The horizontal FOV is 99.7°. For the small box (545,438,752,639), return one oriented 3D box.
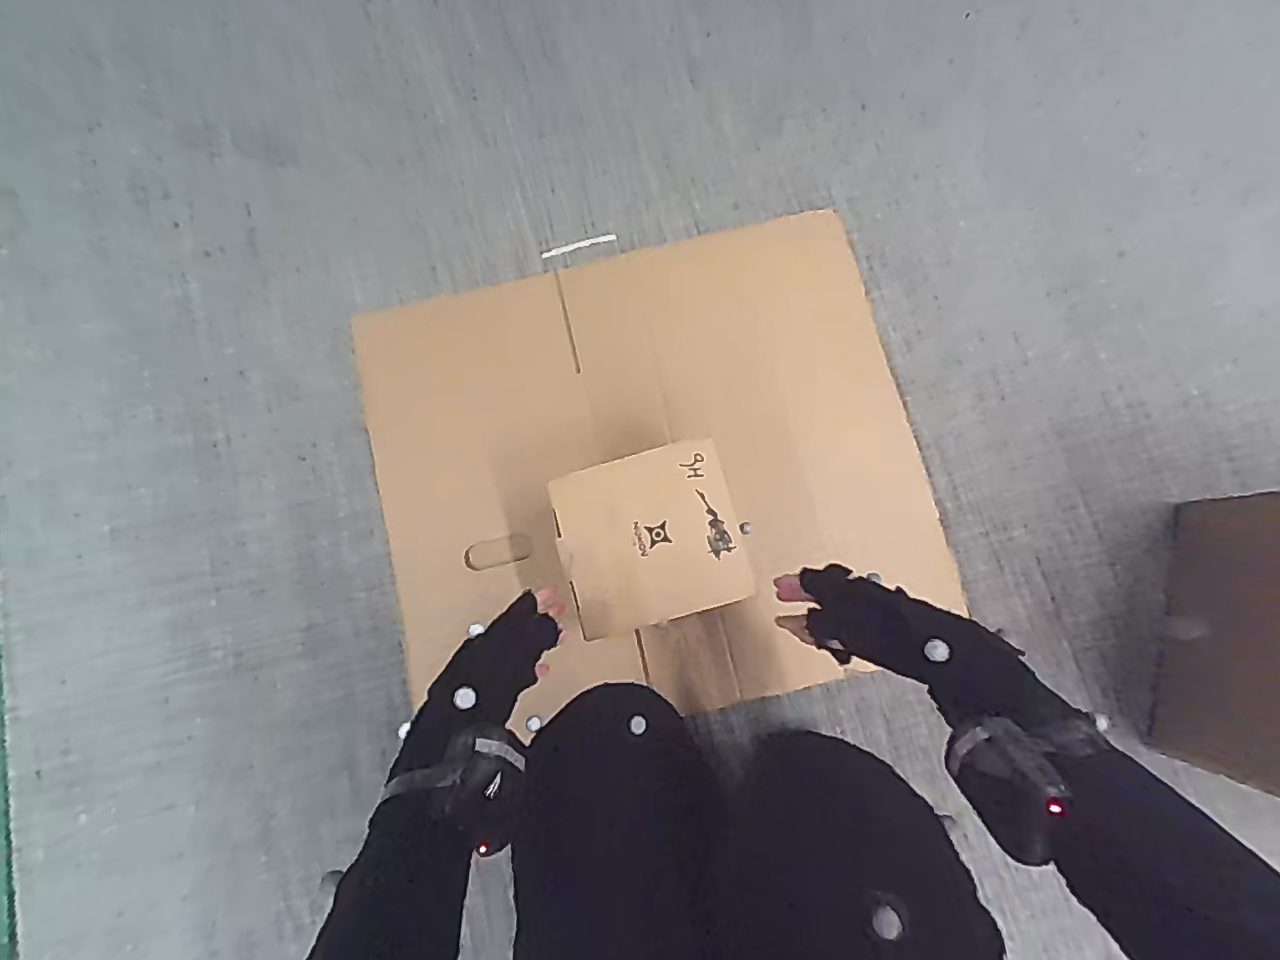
[{"bbox_3d":[0.013,0.073,0.621,0.179,0.176,0.168,-19,78,1],"label":"small box"}]
